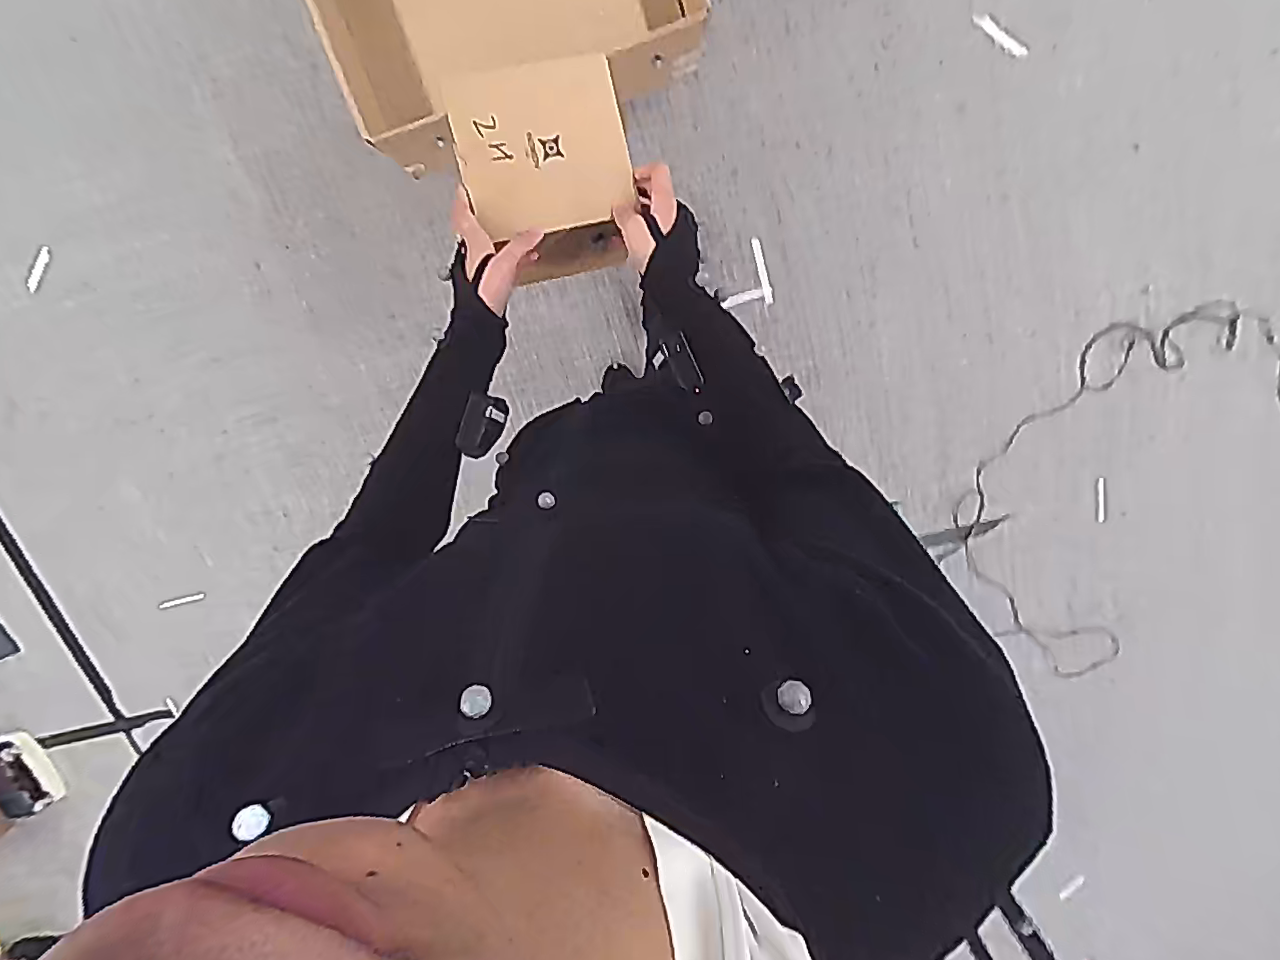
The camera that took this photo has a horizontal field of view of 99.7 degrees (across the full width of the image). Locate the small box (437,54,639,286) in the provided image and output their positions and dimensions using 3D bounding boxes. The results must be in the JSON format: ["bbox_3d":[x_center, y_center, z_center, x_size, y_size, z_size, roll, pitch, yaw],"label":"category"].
[{"bbox_3d":[-0.112,-0.344,0.632,0.179,0.176,0.168,-15,96,-6],"label":"small box"}]
